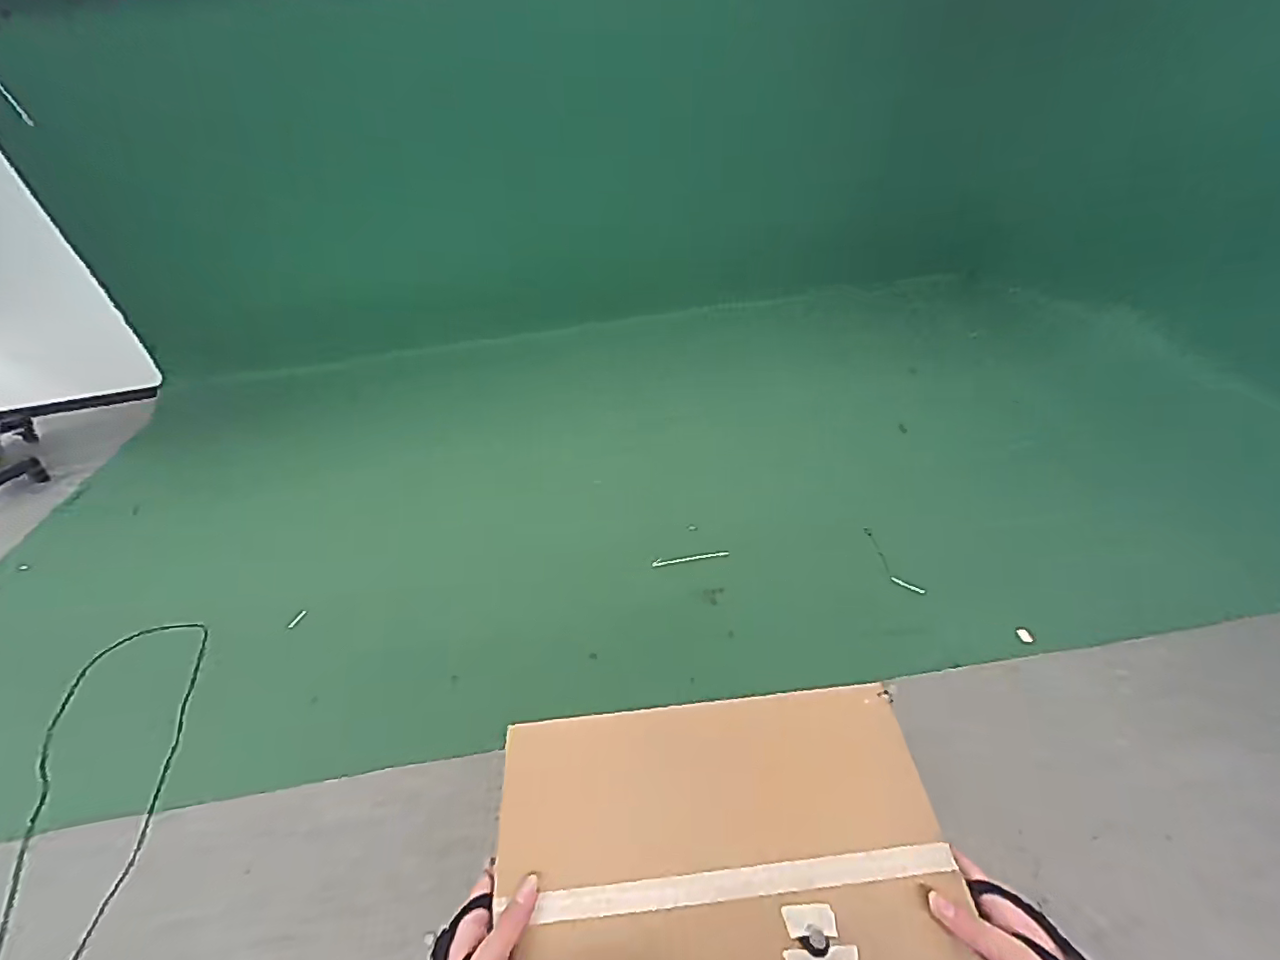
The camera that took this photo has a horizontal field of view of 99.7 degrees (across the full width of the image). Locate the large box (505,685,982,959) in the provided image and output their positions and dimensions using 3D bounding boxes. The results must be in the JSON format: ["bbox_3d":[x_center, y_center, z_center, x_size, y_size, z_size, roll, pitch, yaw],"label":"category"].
[{"bbox_3d":[0.085,0.463,0.597,0.408,0.320,0.320,-7,48,-1],"label":"large box"}]
